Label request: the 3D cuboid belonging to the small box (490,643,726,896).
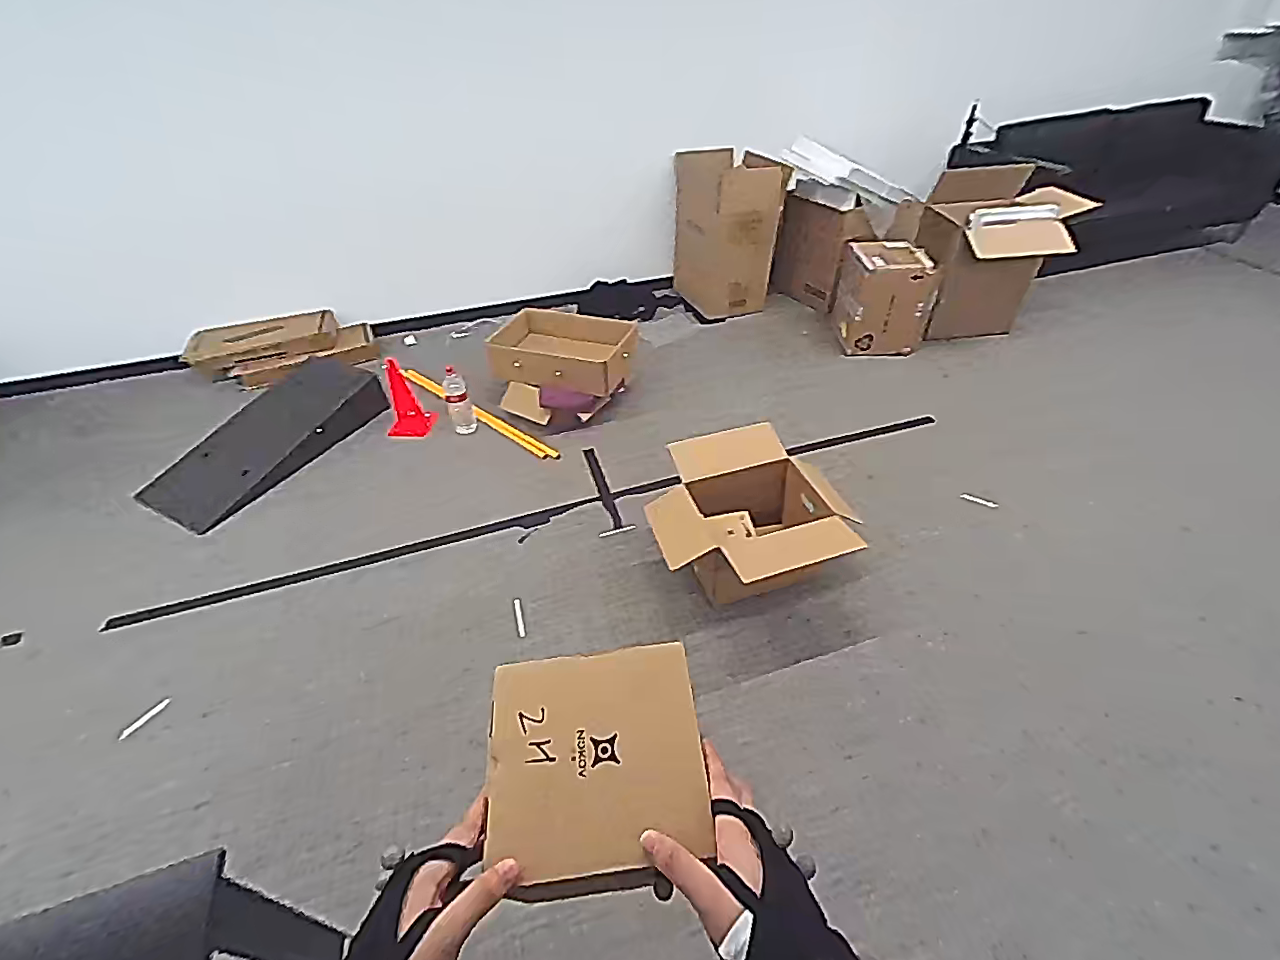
[{"bbox_3d":[-0.026,0.272,0.503,0.179,0.176,0.168,-8,49,-1],"label":"small box"}]
